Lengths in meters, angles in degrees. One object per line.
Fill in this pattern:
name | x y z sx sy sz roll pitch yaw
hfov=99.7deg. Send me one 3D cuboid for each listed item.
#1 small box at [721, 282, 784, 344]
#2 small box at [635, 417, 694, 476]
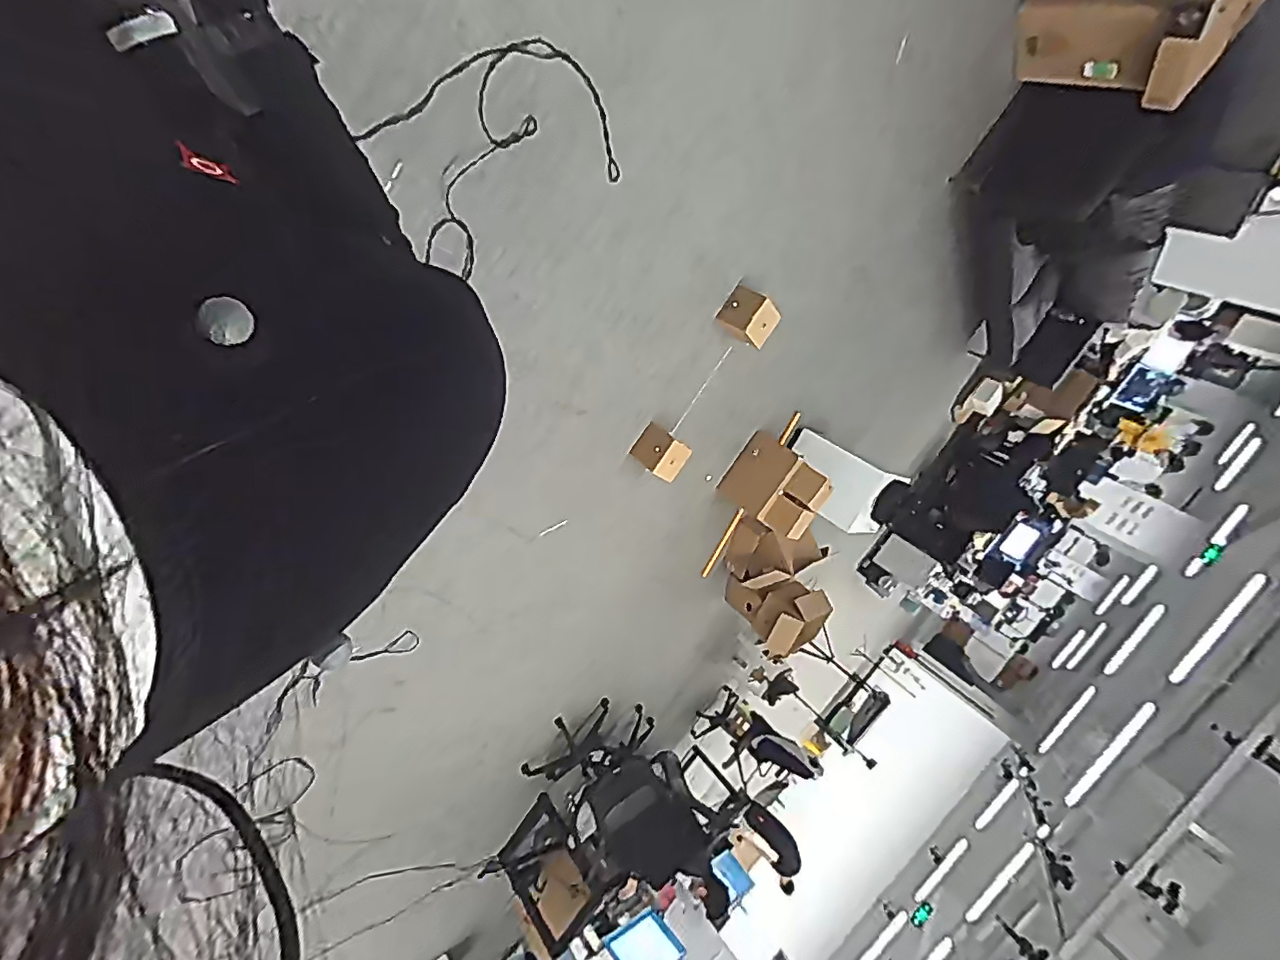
small box | 0.477 -0.713 2.299 0.168 0.176 0.179 -56 145 7
small box | 0.101 -0.149 2.399 0.179 0.176 0.168 -56 144 7
